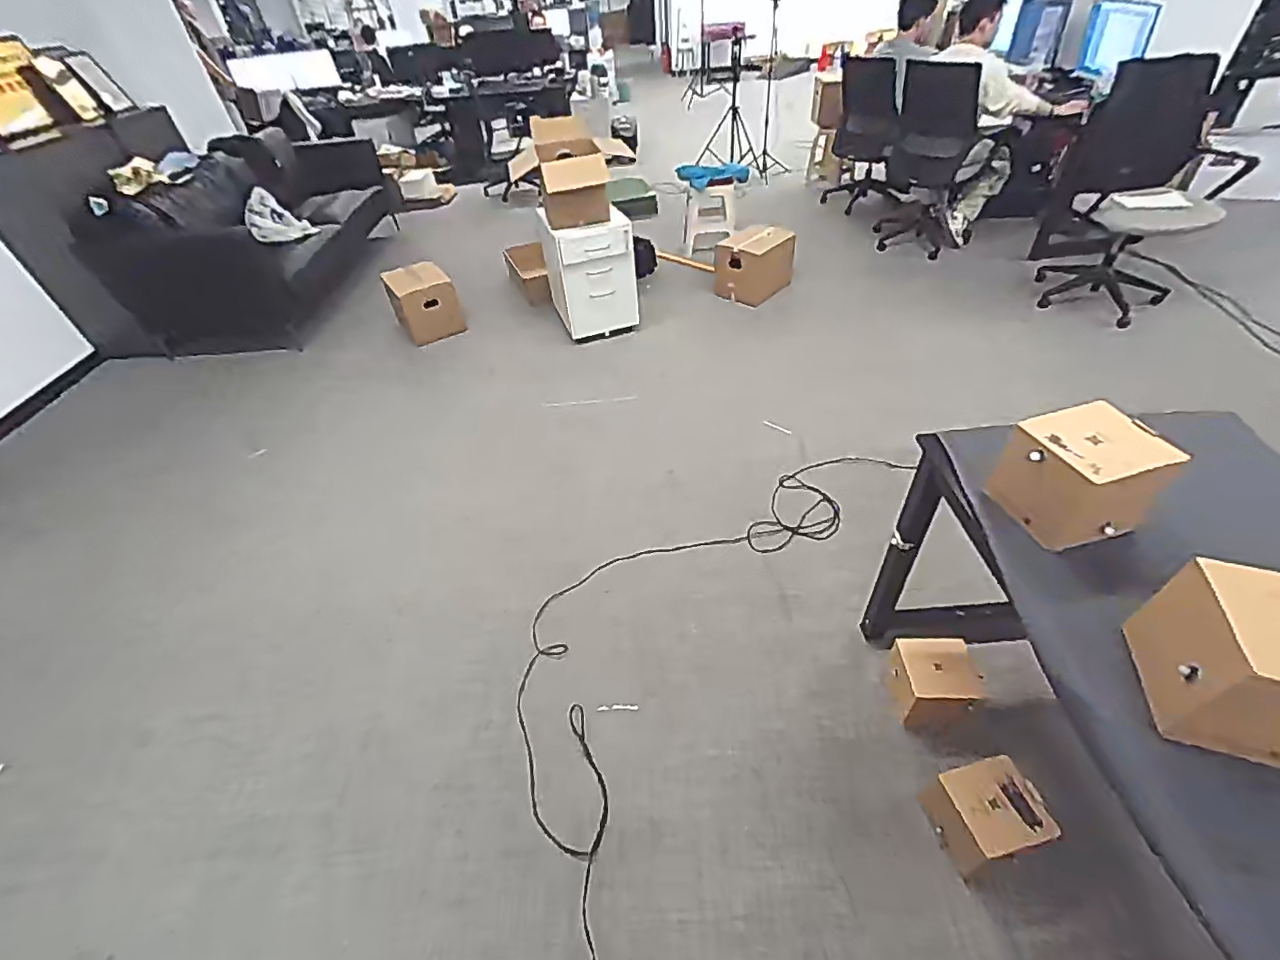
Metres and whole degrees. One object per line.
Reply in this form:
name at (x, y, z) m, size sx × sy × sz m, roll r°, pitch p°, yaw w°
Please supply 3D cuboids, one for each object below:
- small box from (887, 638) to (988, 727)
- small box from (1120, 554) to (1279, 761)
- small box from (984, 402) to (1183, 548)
small box at (0.771, 0.537, 1.430) m, size 0.179 × 0.176 × 0.168 m, roll -1°, pitch 42°, yaw 5°
small box at (0.767, 0.227, 0.684) m, size 0.168 × 0.176 × 0.179 m, roll 12°, pitch 44°, yaw 14°
small box at (0.751, -0.008, 0.940) m, size 0.179 × 0.176 × 0.168 m, roll -13°, pitch 43°, yaw -7°
